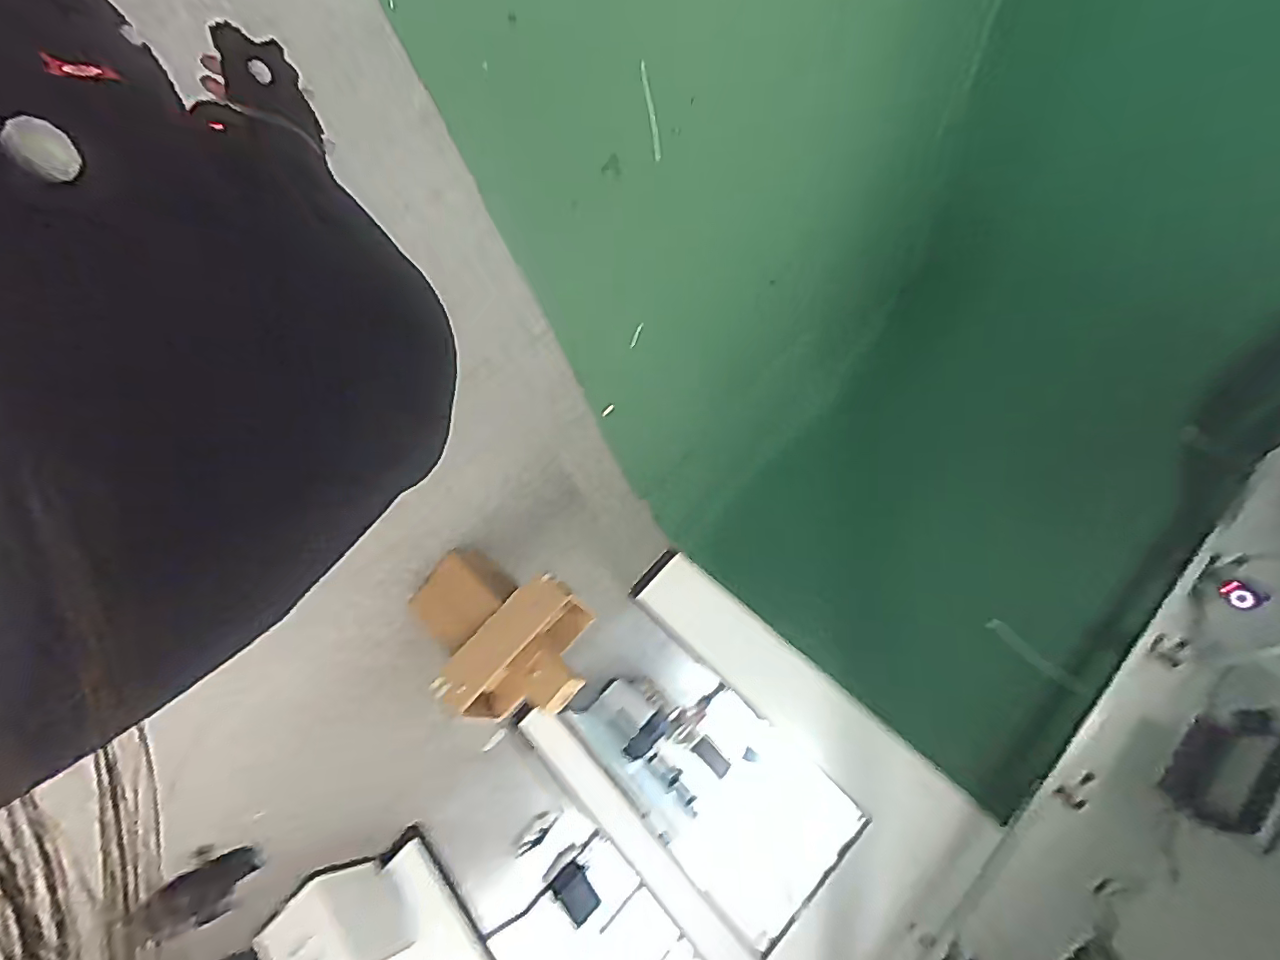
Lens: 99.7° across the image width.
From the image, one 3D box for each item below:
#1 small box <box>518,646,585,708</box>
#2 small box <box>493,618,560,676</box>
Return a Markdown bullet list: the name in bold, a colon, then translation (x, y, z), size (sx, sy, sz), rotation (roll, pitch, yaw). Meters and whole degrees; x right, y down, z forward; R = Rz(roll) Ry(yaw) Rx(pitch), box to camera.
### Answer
- **small box**: translation (-0.352, 0.784, 2.156), size (0.168, 0.176, 0.179), rotation (-48, 153, -9)
- **small box**: translation (-0.468, 0.691, 2.226), size (0.168, 0.176, 0.179), rotation (-49, 153, -7)
